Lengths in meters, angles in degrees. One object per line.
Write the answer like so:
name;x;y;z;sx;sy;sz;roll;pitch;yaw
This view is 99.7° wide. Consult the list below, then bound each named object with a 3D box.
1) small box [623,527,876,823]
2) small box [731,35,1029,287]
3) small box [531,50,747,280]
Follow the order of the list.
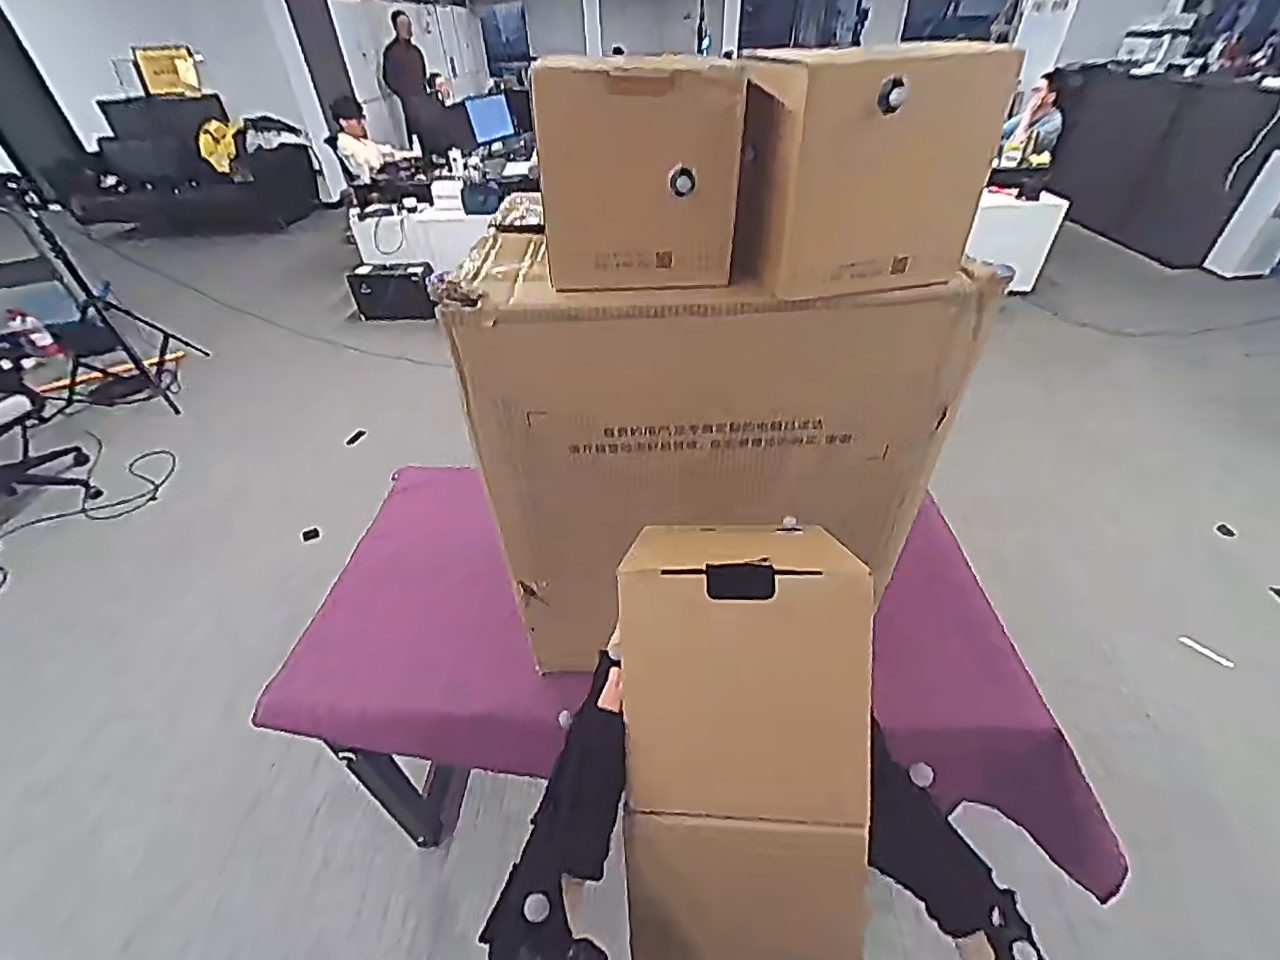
small box;0.079;0.133;0.434;0.168;0.179;0.176;-1;4;7
small box;0.186;-0.287;0.488;0.168;0.176;0.179;-8;39;-6
small box;-0.003;-0.299;0.514;0.168;0.176;0.179;-1;38;-3
